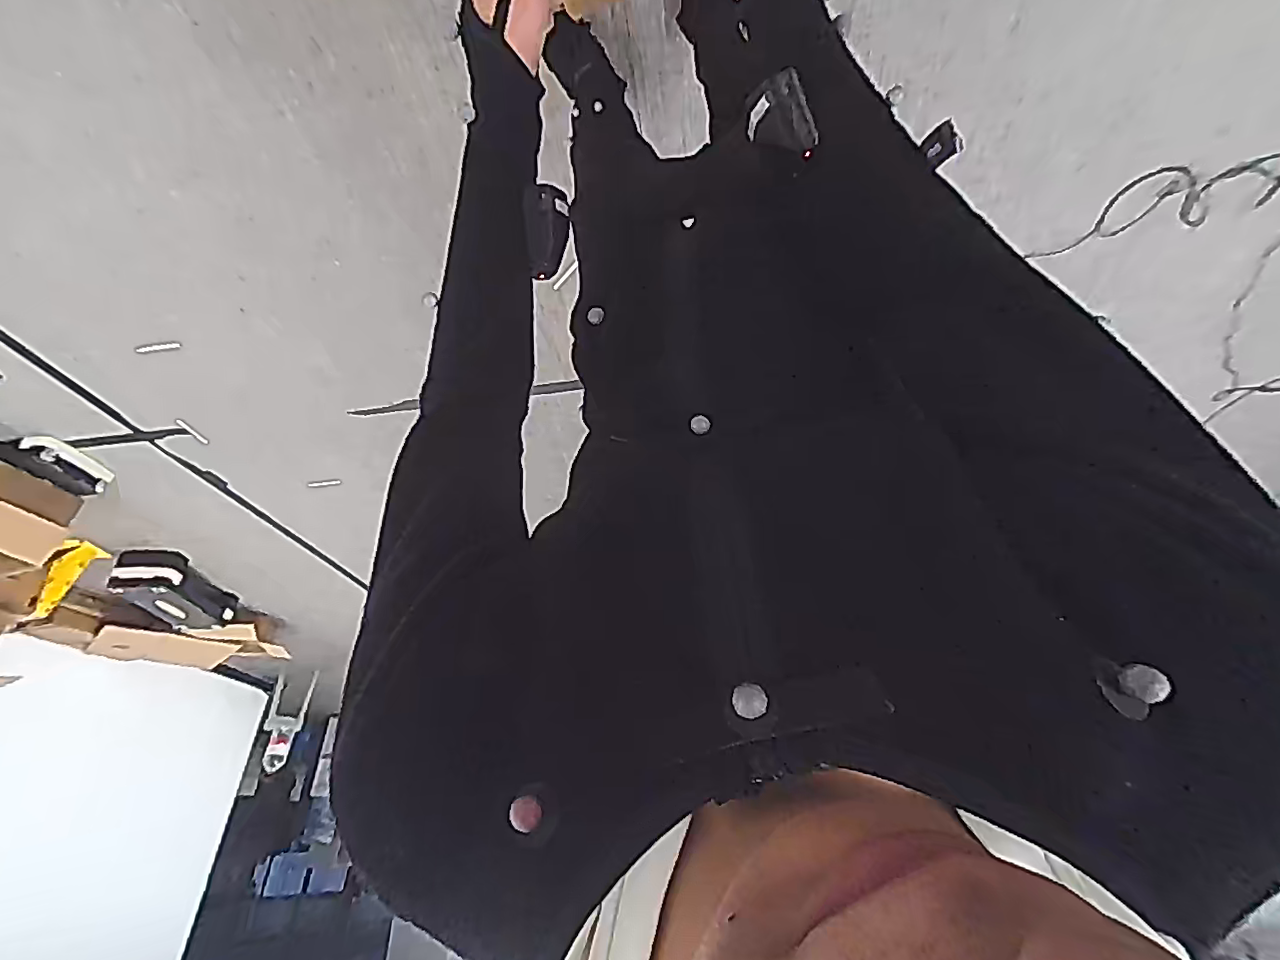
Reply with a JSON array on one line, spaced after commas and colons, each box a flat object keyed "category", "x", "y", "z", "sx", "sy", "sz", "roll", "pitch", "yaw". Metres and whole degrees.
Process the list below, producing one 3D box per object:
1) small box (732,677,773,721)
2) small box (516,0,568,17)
[{"category": "small box", "x": 0.538, "y": 1.054, "z": 2.608, "sx": 0.168, "sy": 0.176, "sz": 0.179, "roll": -4, "pitch": 146, "yaw": 3}, {"category": "small box", "x": -0.054, "y": -0.532, "z": 0.452, "sx": 0.168, "sy": 0.176, "sz": 0.179, "roll": -16, "pitch": 131, "yaw": 11}]
